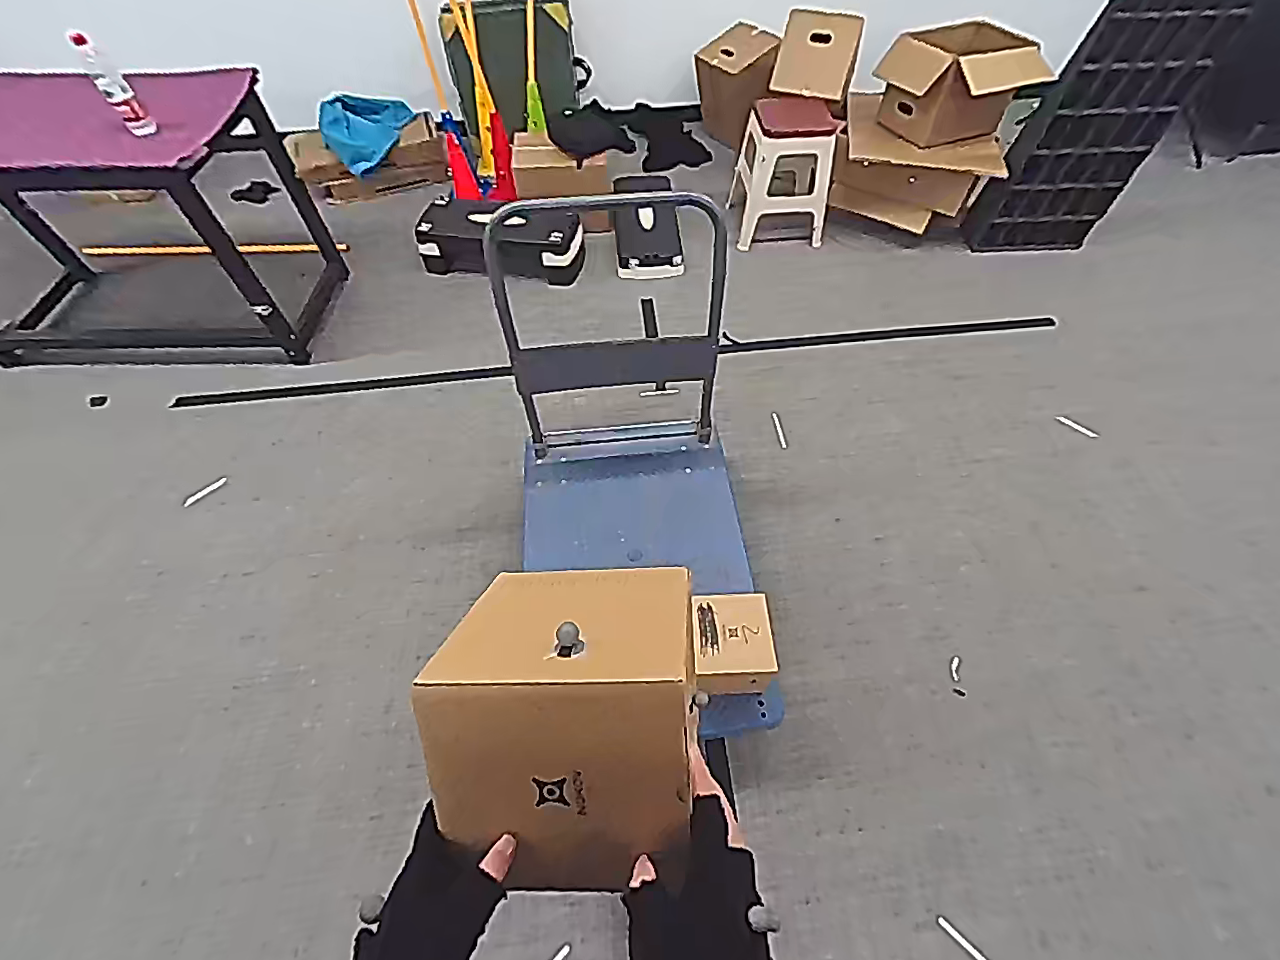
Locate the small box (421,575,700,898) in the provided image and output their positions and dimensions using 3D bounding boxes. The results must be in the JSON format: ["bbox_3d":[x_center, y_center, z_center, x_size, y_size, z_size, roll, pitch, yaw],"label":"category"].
[{"bbox_3d":[-0.043,0.185,0.432,0.179,0.168,0.176,-3,14,5],"label":"small box"}]
